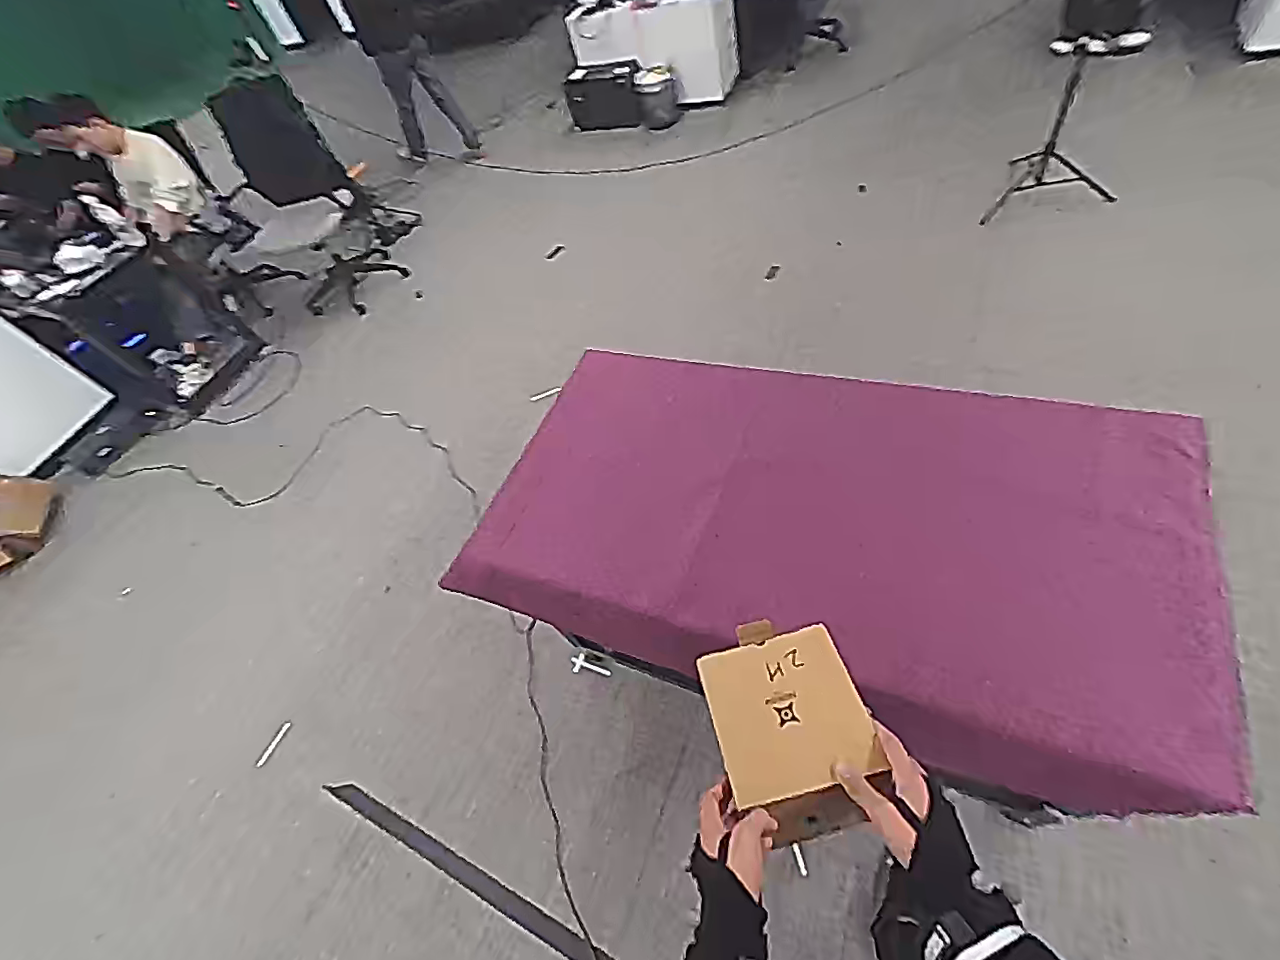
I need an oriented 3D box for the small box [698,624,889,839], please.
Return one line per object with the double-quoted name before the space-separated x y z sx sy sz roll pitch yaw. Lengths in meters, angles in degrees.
"small box" 0.180 0.311 0.661 0.168 0.176 0.179 -15 41 1
